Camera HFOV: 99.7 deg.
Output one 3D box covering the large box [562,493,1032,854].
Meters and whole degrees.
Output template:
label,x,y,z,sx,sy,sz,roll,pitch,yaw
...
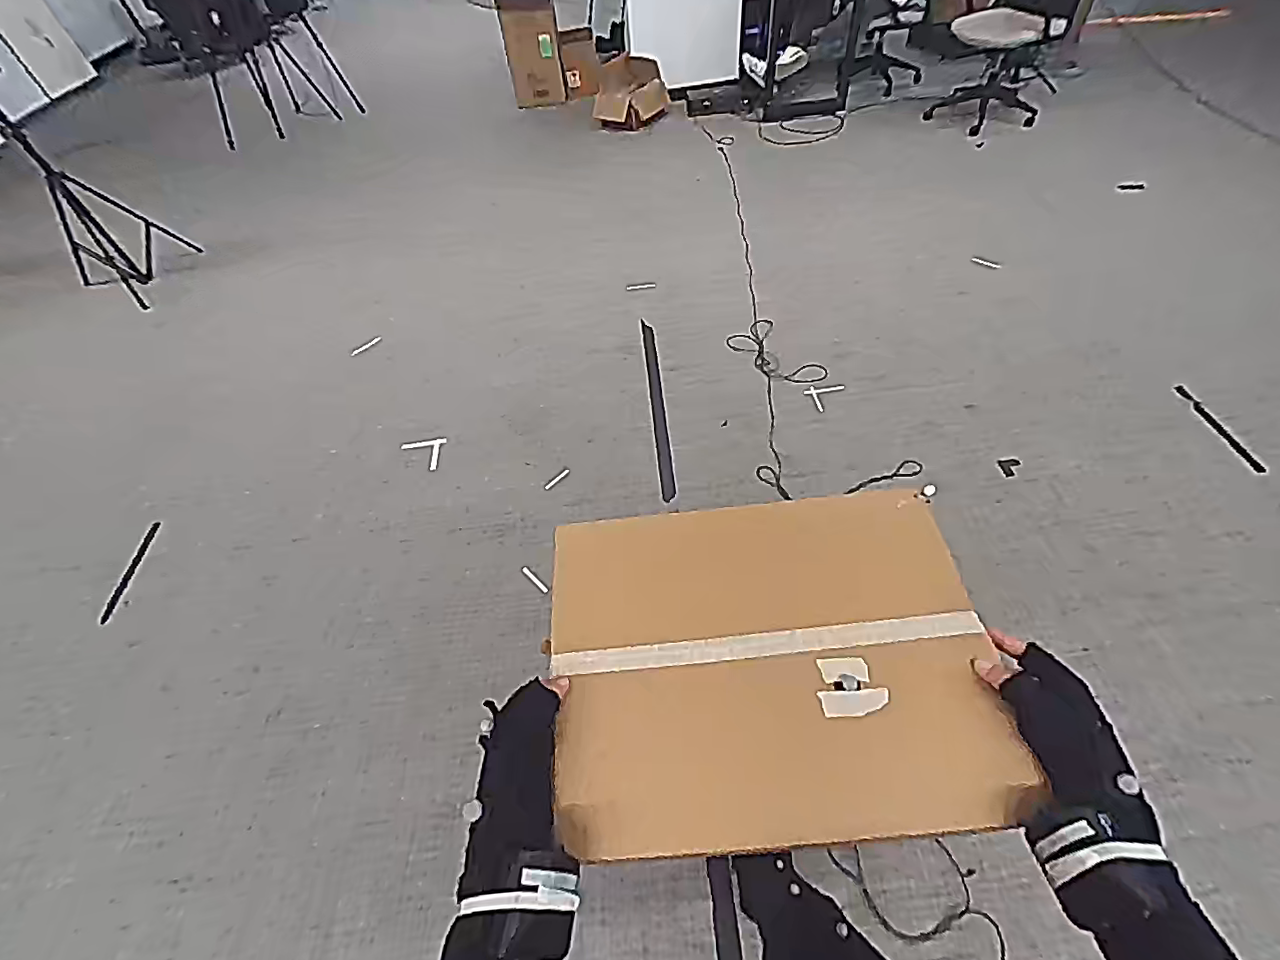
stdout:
label,x,y,z,sx,sy,sz,roll,pitch,yaw
large box,0.131,0.248,0.658,0.408,0.320,0.320,-6,55,2
